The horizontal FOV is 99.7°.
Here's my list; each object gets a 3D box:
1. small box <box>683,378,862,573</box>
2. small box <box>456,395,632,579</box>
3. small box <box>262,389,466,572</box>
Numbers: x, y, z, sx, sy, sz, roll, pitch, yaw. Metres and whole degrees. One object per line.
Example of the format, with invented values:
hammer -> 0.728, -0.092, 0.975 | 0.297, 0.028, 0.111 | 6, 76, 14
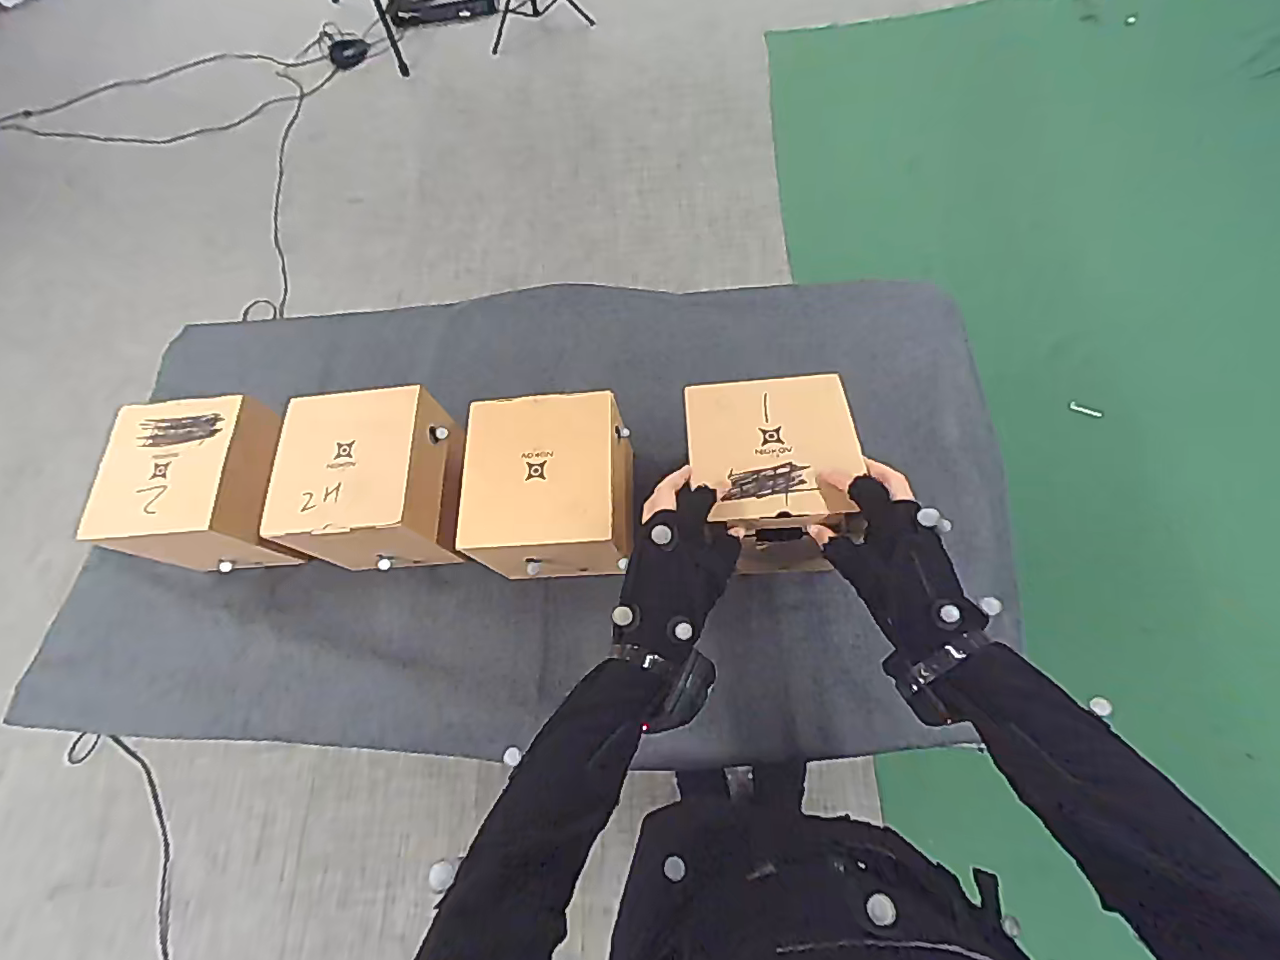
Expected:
small box -> 0.140, 0.007, 0.624 | 0.168, 0.176, 0.179 | -4, 67, 6
small box -> -0.101, 0.020, 0.653 | 0.168, 0.176, 0.179 | -4, 67, 6
small box -> -0.323, 0.009, 0.683 | 0.168, 0.176, 0.179 | -5, 68, 6
